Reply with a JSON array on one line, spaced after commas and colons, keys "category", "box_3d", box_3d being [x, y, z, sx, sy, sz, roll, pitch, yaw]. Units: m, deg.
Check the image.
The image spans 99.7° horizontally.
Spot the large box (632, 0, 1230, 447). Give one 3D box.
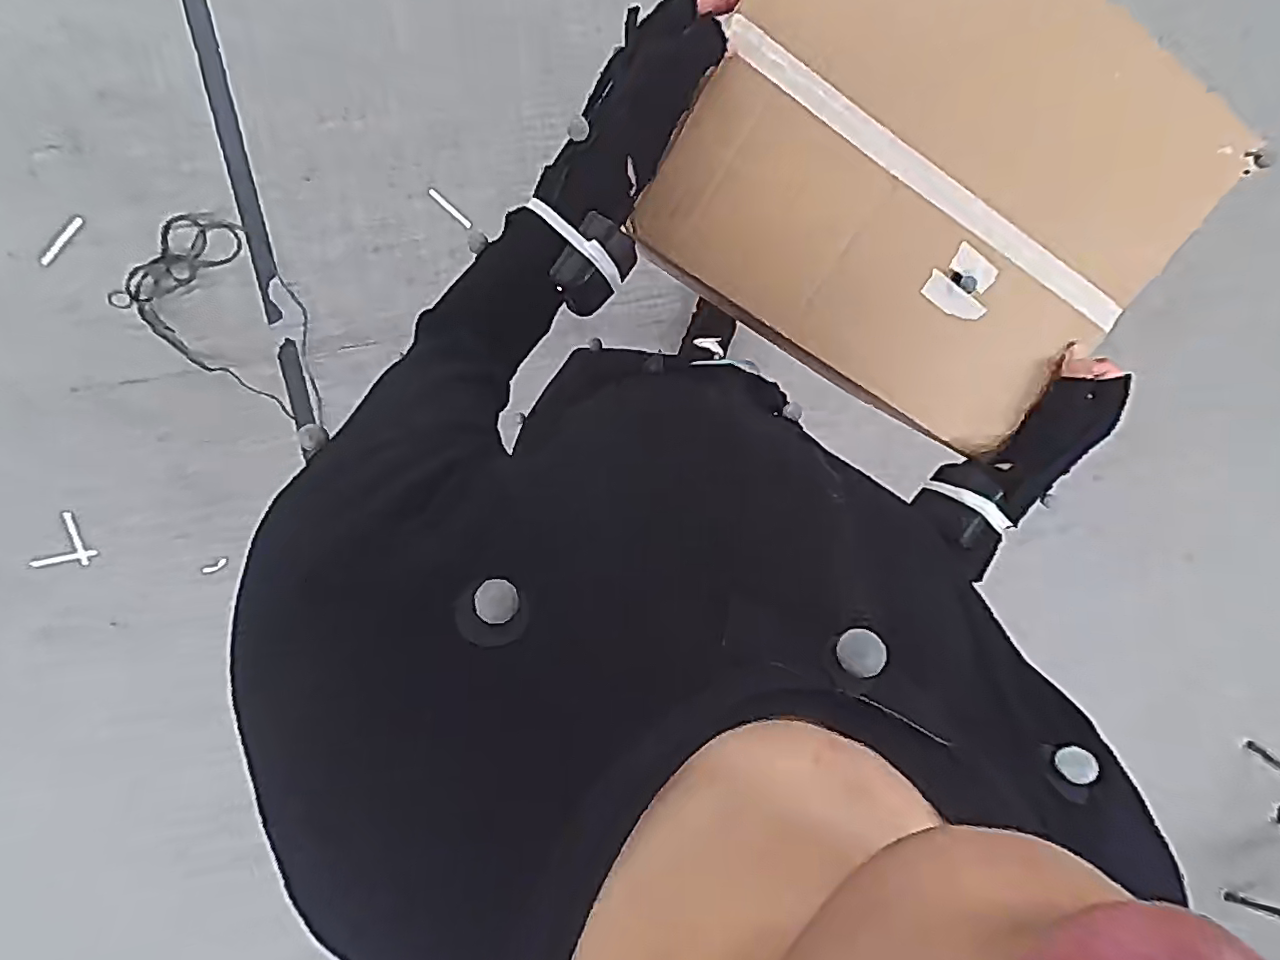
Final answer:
[{"category": "large box", "box_3d": [0.235, -0.297, 0.588, 0.408, 0.320, 0.320, 29, 109, -12]}]
